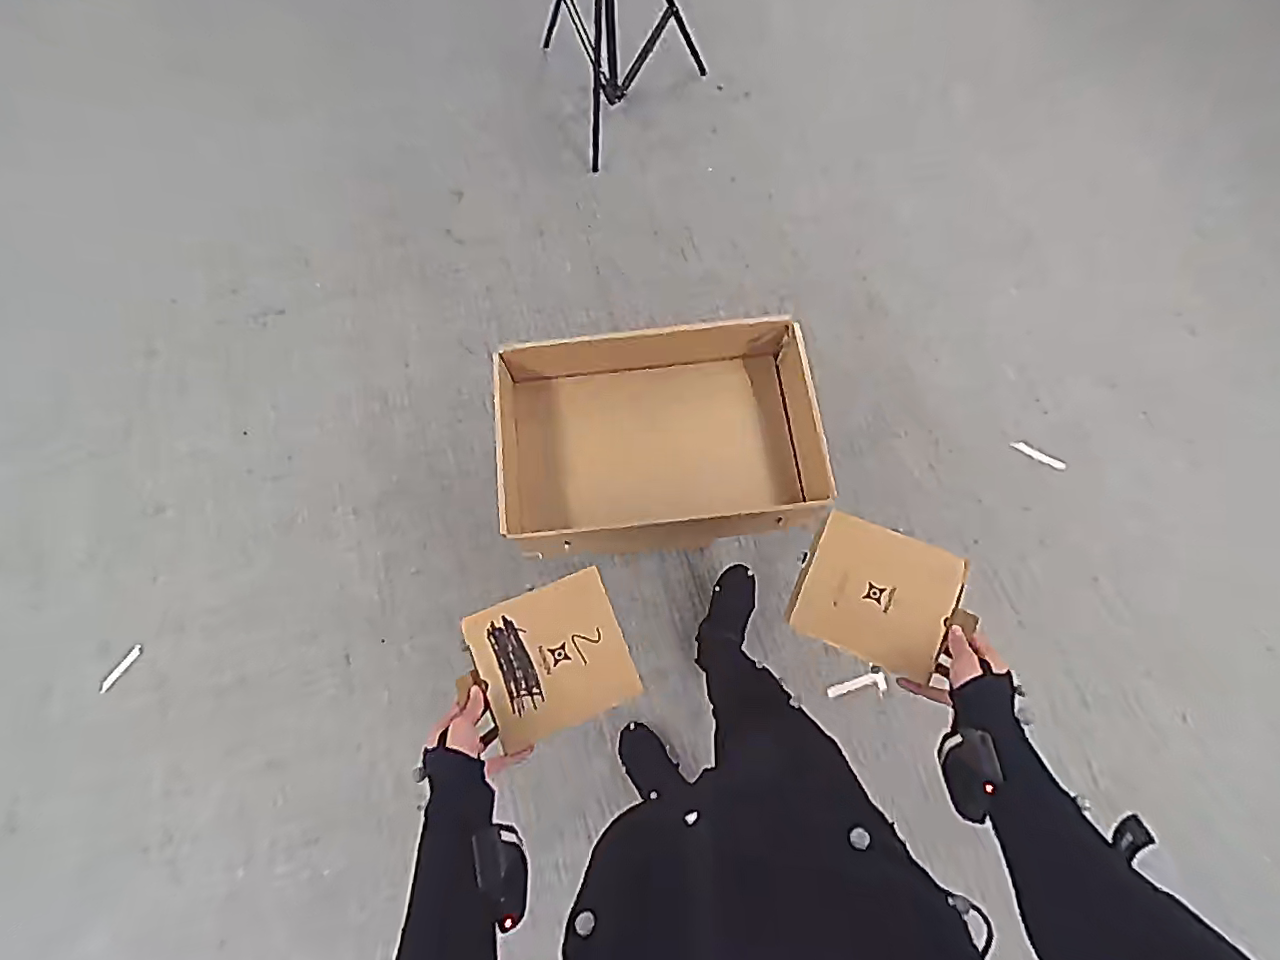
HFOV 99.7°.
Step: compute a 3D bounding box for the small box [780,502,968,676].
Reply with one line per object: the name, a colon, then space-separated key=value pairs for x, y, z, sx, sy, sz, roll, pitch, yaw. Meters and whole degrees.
small box: x=0.308 y=0.144 z=0.748 sx=0.179 sy=0.176 sz=0.168 roll=21 pitch=84 yaw=14
